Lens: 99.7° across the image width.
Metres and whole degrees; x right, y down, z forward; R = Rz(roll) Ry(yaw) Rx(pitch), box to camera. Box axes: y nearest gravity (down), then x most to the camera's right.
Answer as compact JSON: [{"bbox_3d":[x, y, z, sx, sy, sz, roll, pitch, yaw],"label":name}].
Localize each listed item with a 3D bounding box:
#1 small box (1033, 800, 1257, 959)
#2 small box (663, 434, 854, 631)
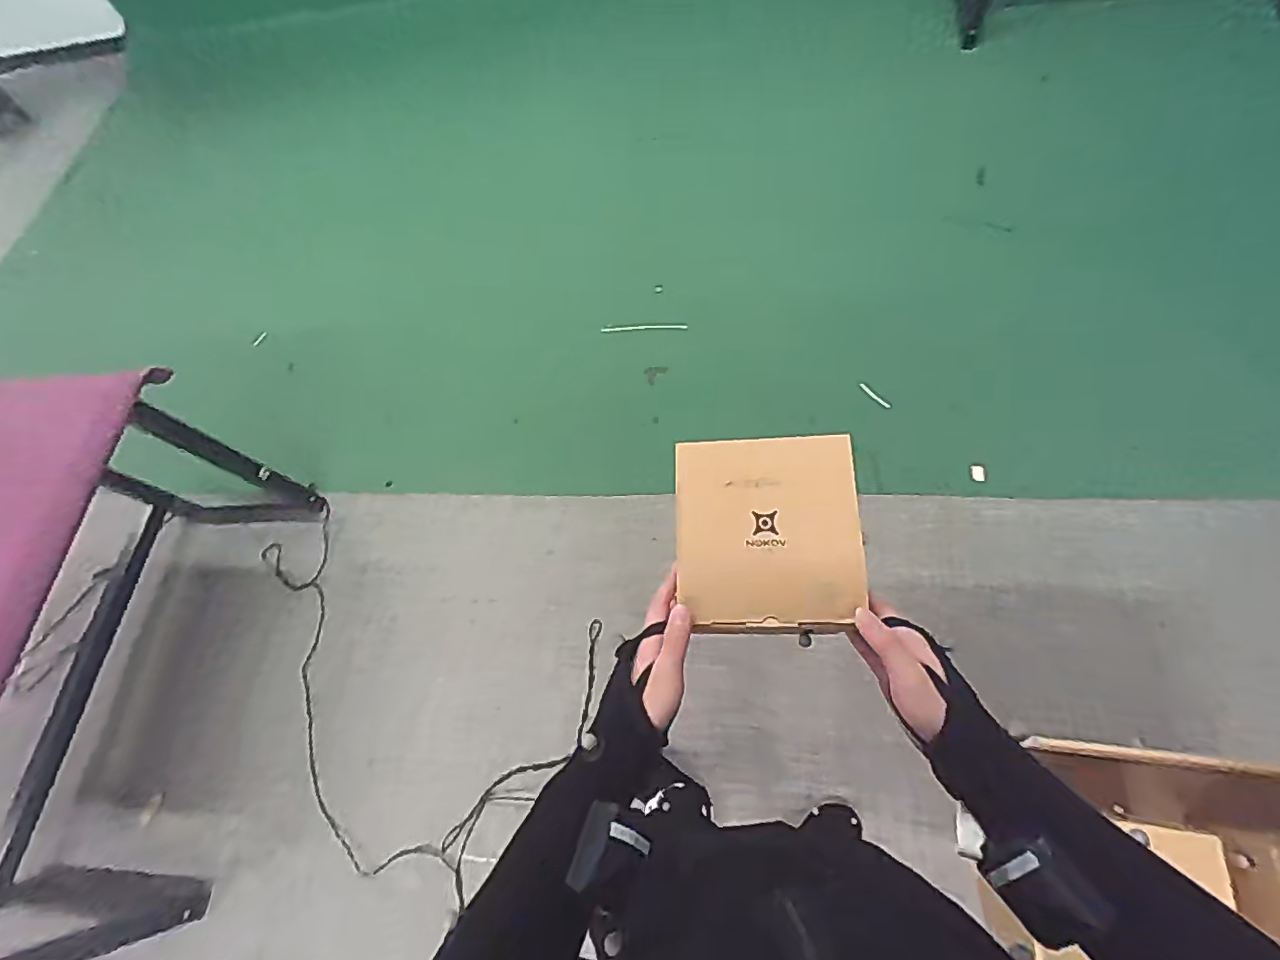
[{"bbox_3d":[0.709,0.581,0.788,0.179,0.176,0.168,4,68,10],"label":"small box"},{"bbox_3d":[0.116,0.067,0.566,0.168,0.176,0.179,-3,72,9],"label":"small box"}]
